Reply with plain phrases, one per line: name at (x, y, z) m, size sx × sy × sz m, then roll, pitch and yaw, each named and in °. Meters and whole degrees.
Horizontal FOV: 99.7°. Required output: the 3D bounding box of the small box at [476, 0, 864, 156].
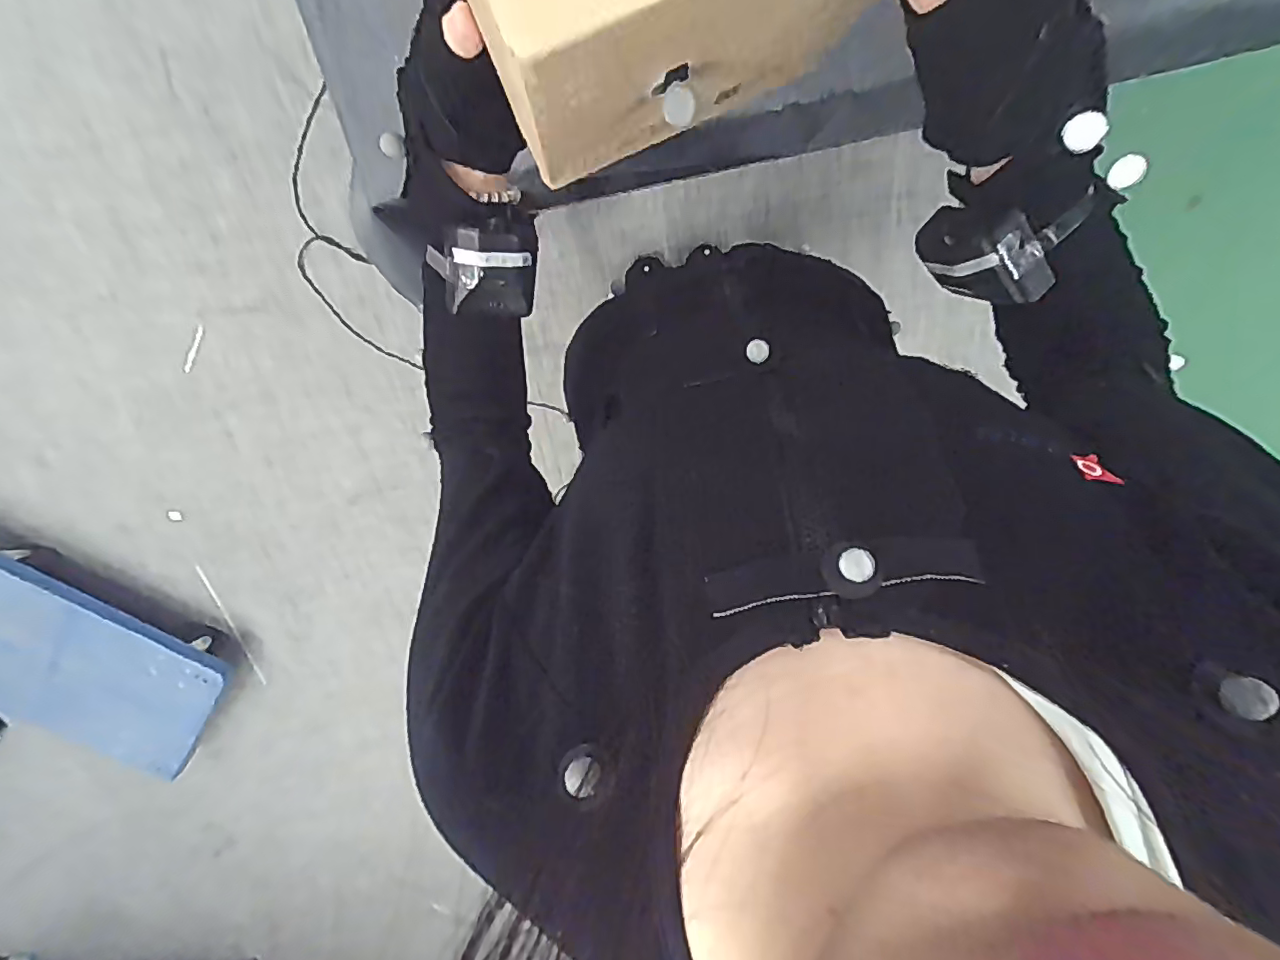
small box at (0.001, -0.251, 0.202) m, size 0.168 × 0.176 × 0.179 m, roll -24°, pitch 106°, yaw 2°
